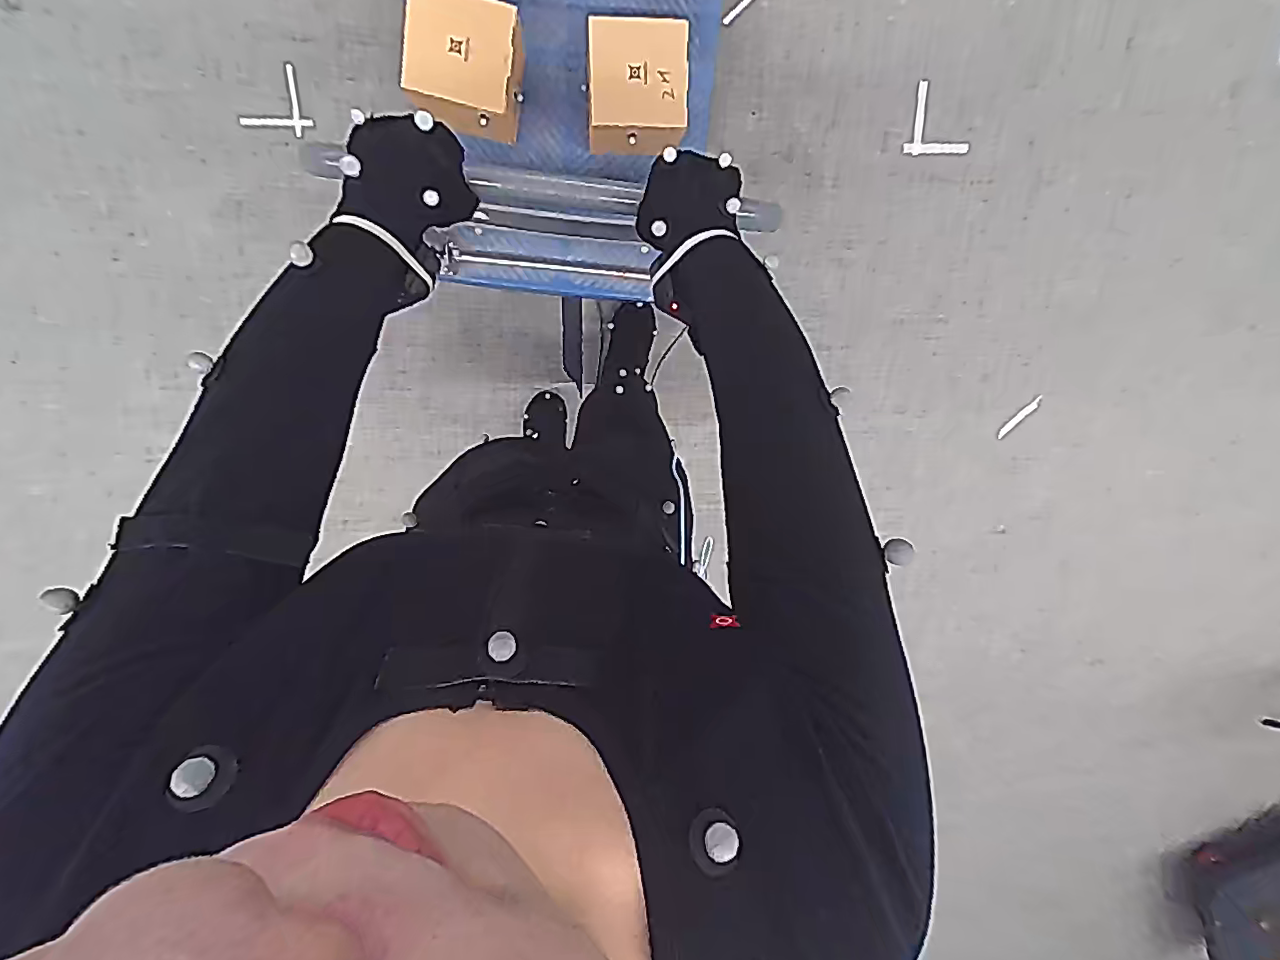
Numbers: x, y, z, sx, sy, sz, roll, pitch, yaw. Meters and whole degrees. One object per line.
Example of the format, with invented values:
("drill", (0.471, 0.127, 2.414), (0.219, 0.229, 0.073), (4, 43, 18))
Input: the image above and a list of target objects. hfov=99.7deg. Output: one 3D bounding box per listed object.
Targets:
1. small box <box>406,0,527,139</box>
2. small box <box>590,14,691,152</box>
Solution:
("small box", (-0.308, -0.754, 0.988), (0.179, 0.176, 0.168), (8, 104, -11))
("small box", (-0.006, -0.740, 1.027), (0.179, 0.176, 0.168), (-2, 107, -6))
